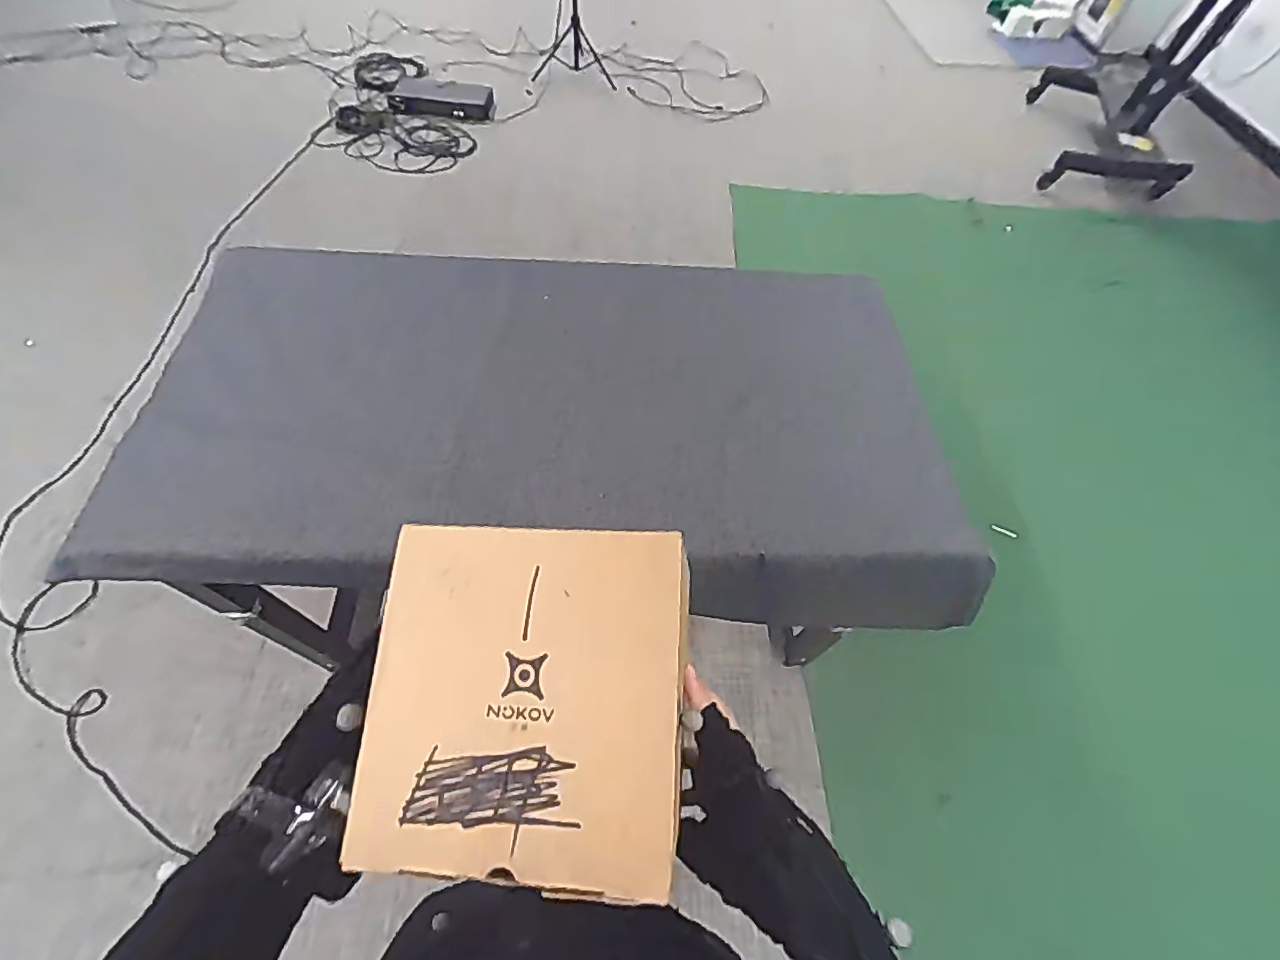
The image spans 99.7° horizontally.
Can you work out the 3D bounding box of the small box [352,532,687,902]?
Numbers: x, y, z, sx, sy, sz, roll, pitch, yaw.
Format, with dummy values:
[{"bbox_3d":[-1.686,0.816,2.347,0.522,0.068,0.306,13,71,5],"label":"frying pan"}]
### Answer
[{"bbox_3d":[-0.055,0.142,0.370,0.168,0.176,0.179,2,72,6],"label":"small box"}]
